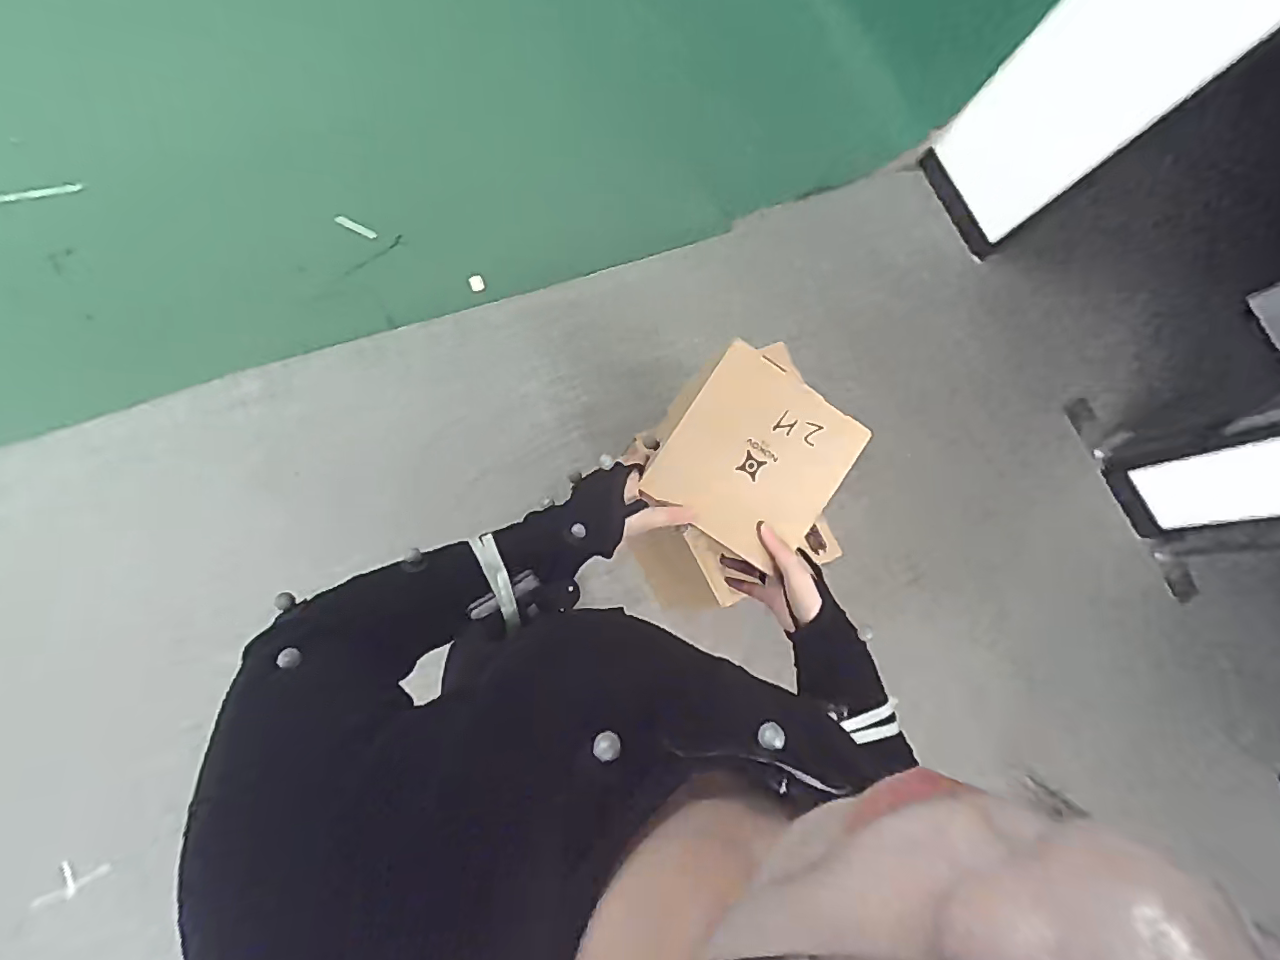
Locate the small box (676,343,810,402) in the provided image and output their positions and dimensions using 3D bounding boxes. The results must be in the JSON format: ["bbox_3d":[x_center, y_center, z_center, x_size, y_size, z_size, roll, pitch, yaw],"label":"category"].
[{"bbox_3d":[0.175,-0.110,0.953,0.179,0.176,0.168,-23,85,-16],"label":"small box"}]

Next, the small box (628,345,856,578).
[{"bbox_3d":[0.099,-0.020,0.613,0.168,0.176,0.179,34,90,-6],"label":"small box"}]
